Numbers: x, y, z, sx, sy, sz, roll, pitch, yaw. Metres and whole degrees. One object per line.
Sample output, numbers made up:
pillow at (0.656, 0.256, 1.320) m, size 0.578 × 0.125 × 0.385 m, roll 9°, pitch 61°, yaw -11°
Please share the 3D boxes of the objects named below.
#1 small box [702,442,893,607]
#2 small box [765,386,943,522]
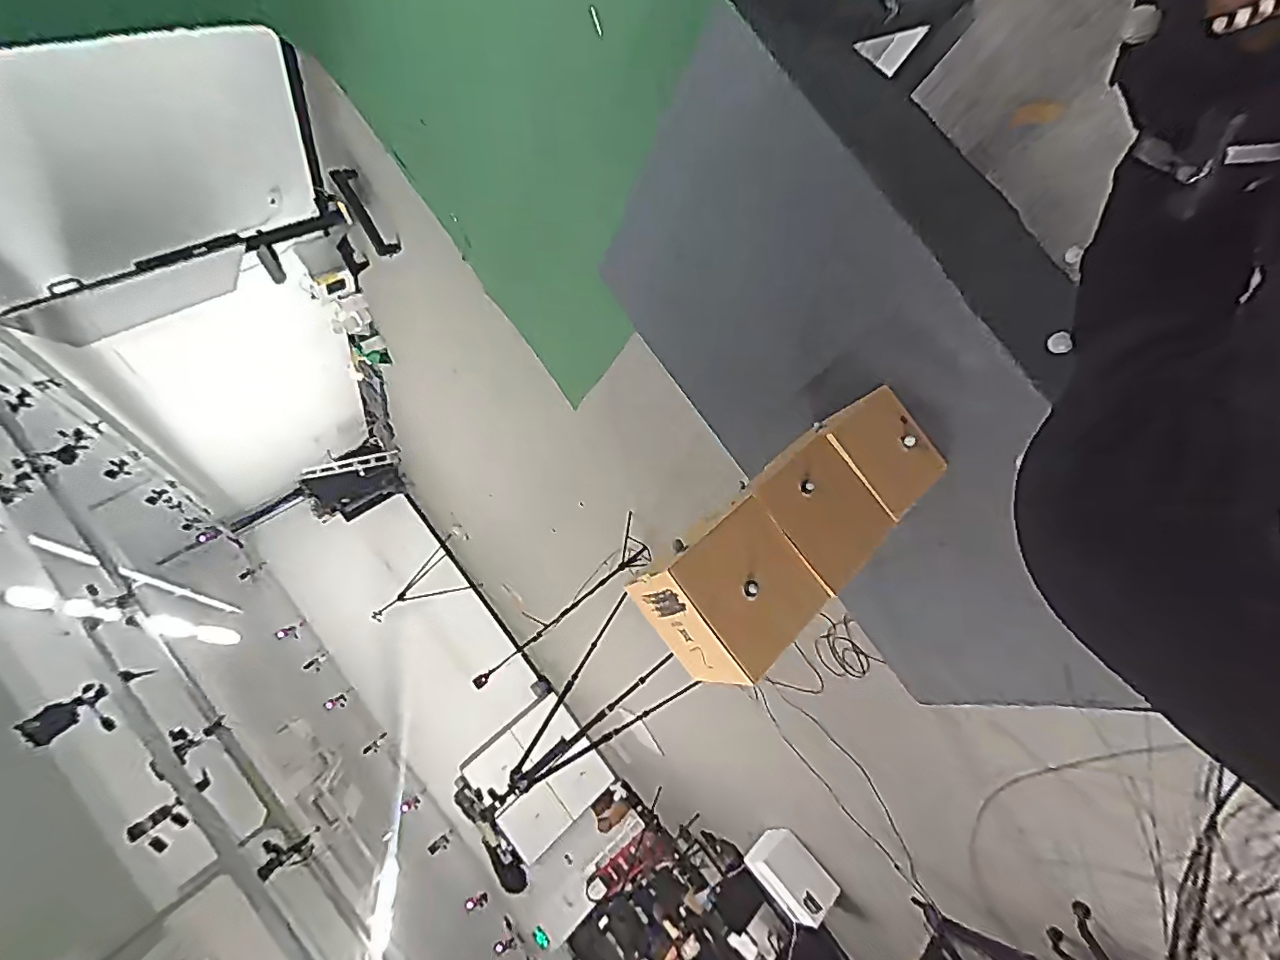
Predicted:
small box at (0.234, 0.063, 0.816) m, size 0.179 × 0.176 × 0.168 m, roll 53°, pitch 153°, yaw 4°
small box at (0.350, -0.024, 0.890) m, size 0.168 × 0.176 × 0.179 m, roll 54°, pitch 151°, yaw 2°
